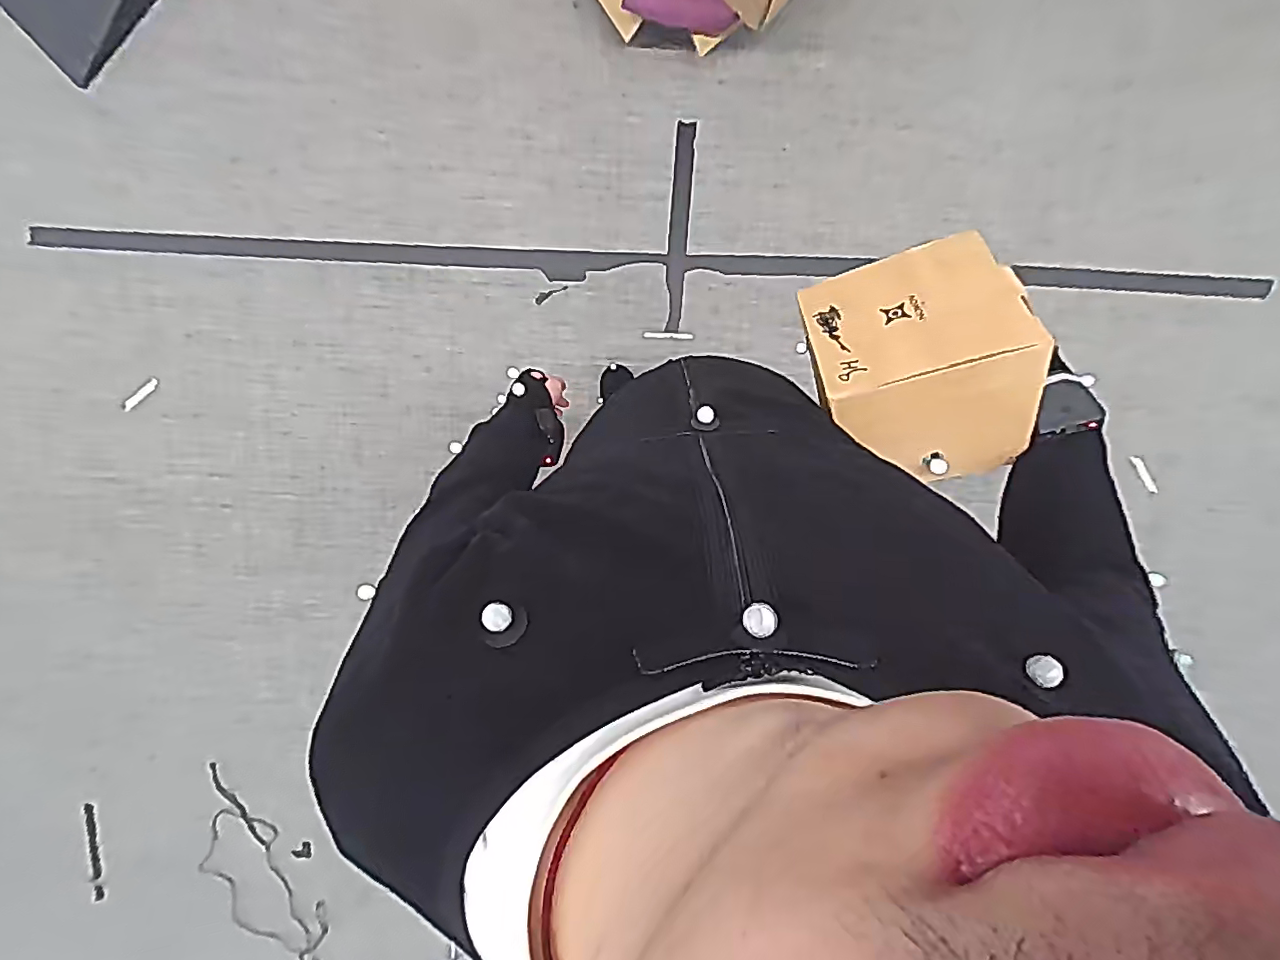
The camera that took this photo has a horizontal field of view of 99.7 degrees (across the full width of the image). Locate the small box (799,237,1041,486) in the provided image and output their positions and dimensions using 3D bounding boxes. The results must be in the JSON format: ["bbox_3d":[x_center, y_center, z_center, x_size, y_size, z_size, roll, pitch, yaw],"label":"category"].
[{"bbox_3d":[0.283,-0.116,0.579,0.179,0.168,0.176,-14,141,18],"label":"small box"}]
